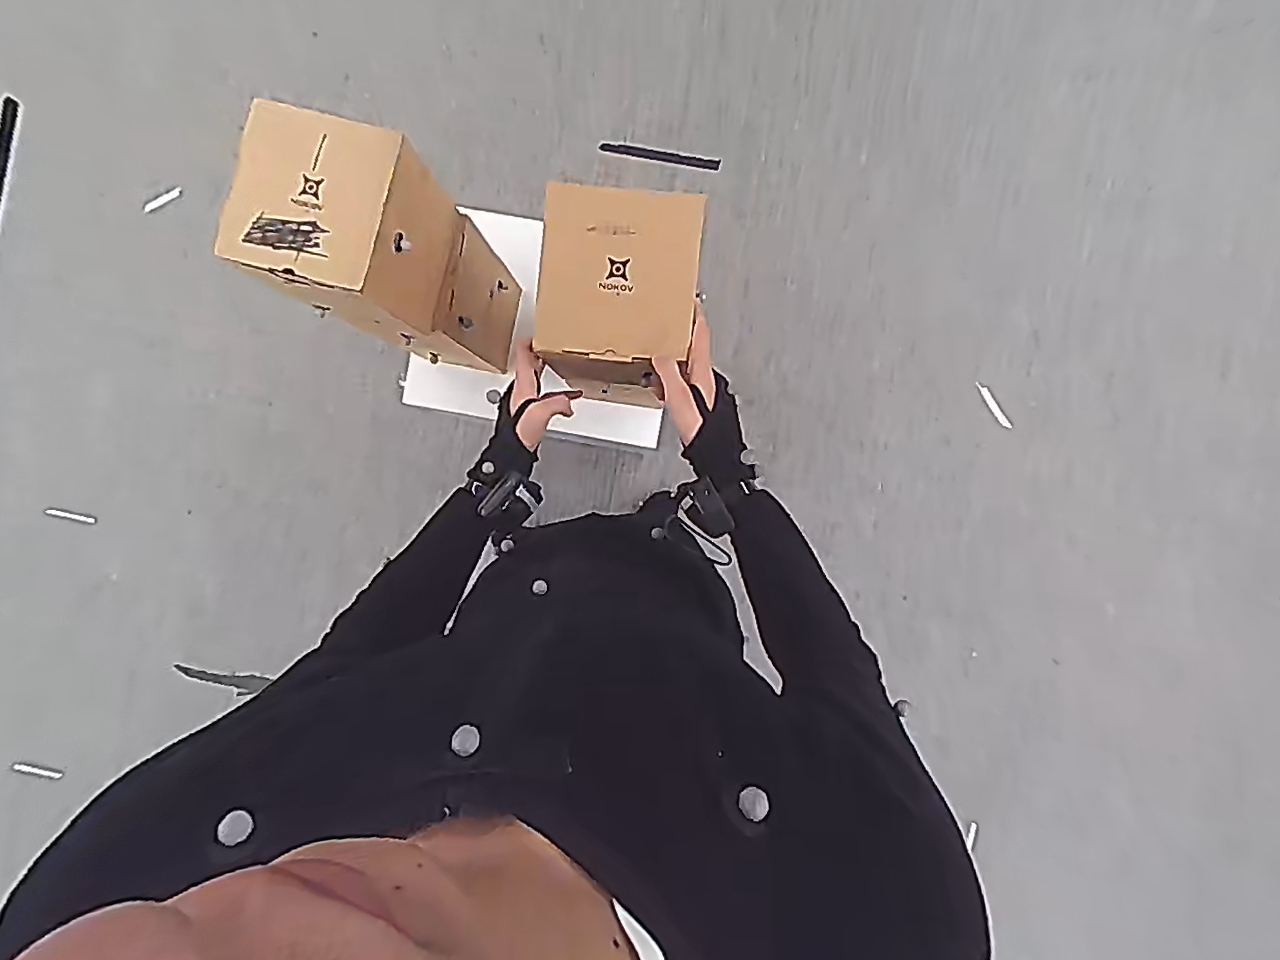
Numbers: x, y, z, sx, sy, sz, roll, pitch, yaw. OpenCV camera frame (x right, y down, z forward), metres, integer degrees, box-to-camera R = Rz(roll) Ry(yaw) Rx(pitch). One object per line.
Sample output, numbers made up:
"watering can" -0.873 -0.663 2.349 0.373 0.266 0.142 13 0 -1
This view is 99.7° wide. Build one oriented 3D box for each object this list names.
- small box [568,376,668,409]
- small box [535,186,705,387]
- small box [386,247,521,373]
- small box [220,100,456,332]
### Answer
"small box" -0.024 -0.233 0.964 0.168 0.176 0.179 9 90 3
"small box" -0.019 -0.211 0.636 0.168 0.176 0.179 5 90 1
"small box" -0.324 -0.302 0.971 0.168 0.176 0.179 11 91 1
"small box" -0.339 -0.294 0.642 0.168 0.176 0.179 14 90 1
